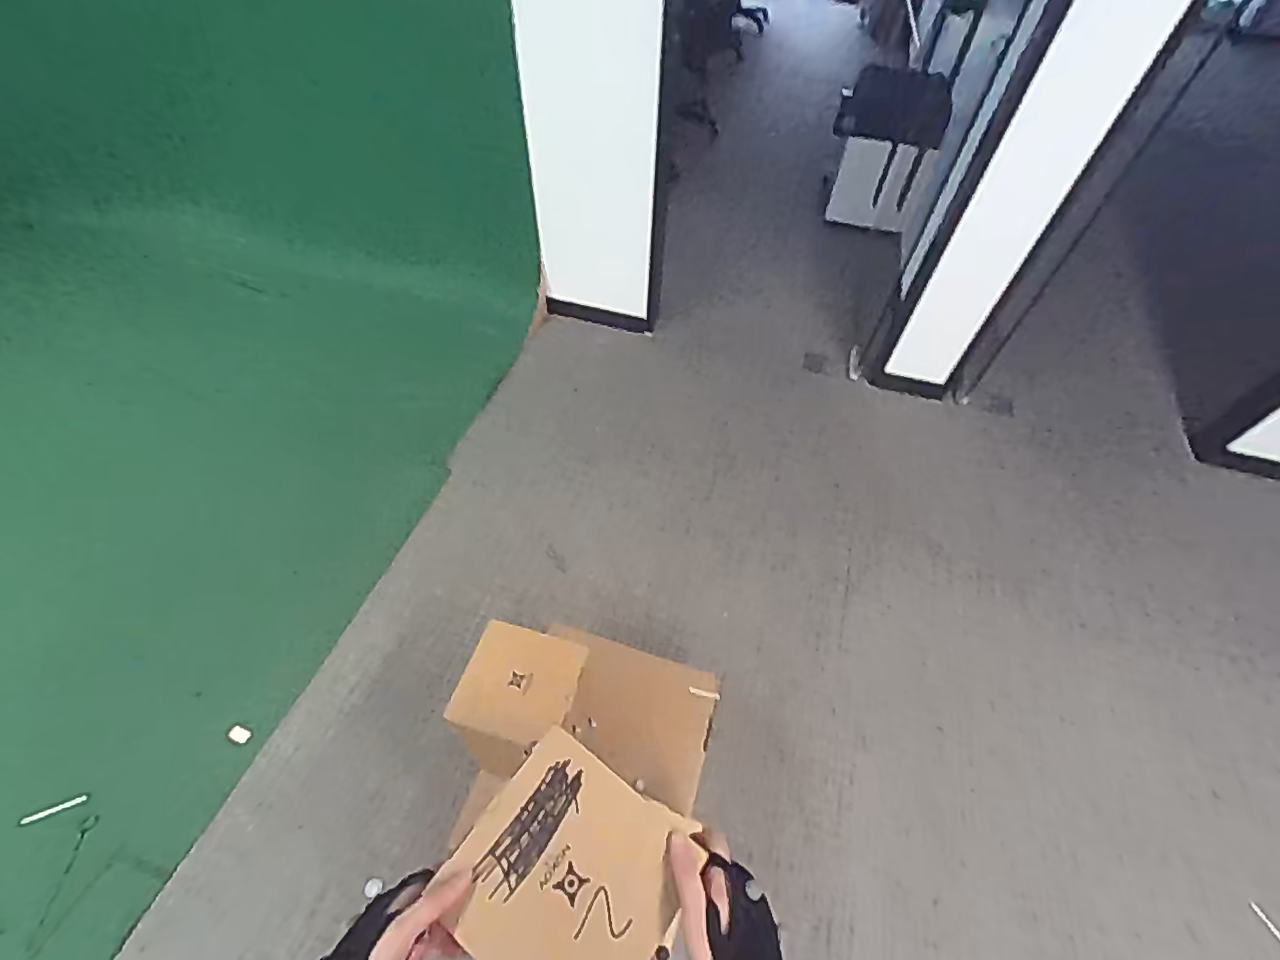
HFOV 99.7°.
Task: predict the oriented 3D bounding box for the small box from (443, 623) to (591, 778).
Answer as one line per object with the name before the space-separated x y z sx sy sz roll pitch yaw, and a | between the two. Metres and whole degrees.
small box | -0.188 0.365 0.887 0.179 0.176 0.168 15 50 8

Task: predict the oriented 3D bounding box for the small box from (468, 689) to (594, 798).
small box | -0.190 0.473 1.009 0.179 0.176 0.168 13 50 8

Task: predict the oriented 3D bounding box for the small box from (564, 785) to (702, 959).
small box | -0.013 0.638 0.882 0.168 0.176 0.179 19 52 11
